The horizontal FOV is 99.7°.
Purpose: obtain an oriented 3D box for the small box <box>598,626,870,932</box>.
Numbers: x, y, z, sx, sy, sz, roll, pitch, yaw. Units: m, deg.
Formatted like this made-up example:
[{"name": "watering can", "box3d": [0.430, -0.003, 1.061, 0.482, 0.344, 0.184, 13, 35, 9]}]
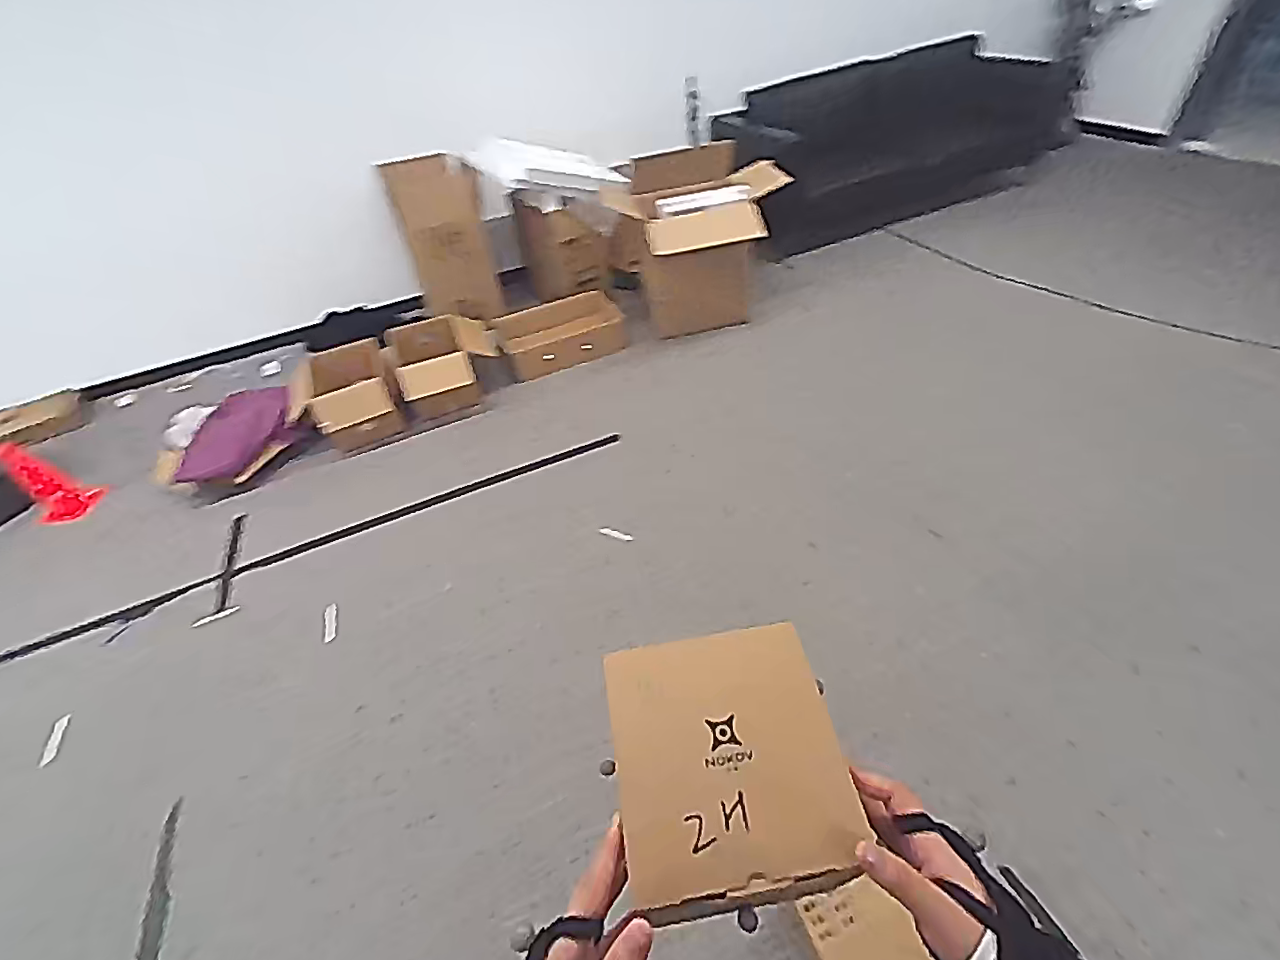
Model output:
[{"name": "small box", "box3d": [0.061, 0.253, 0.459, 0.168, 0.176, 0.179, -10, 48, -4]}]
